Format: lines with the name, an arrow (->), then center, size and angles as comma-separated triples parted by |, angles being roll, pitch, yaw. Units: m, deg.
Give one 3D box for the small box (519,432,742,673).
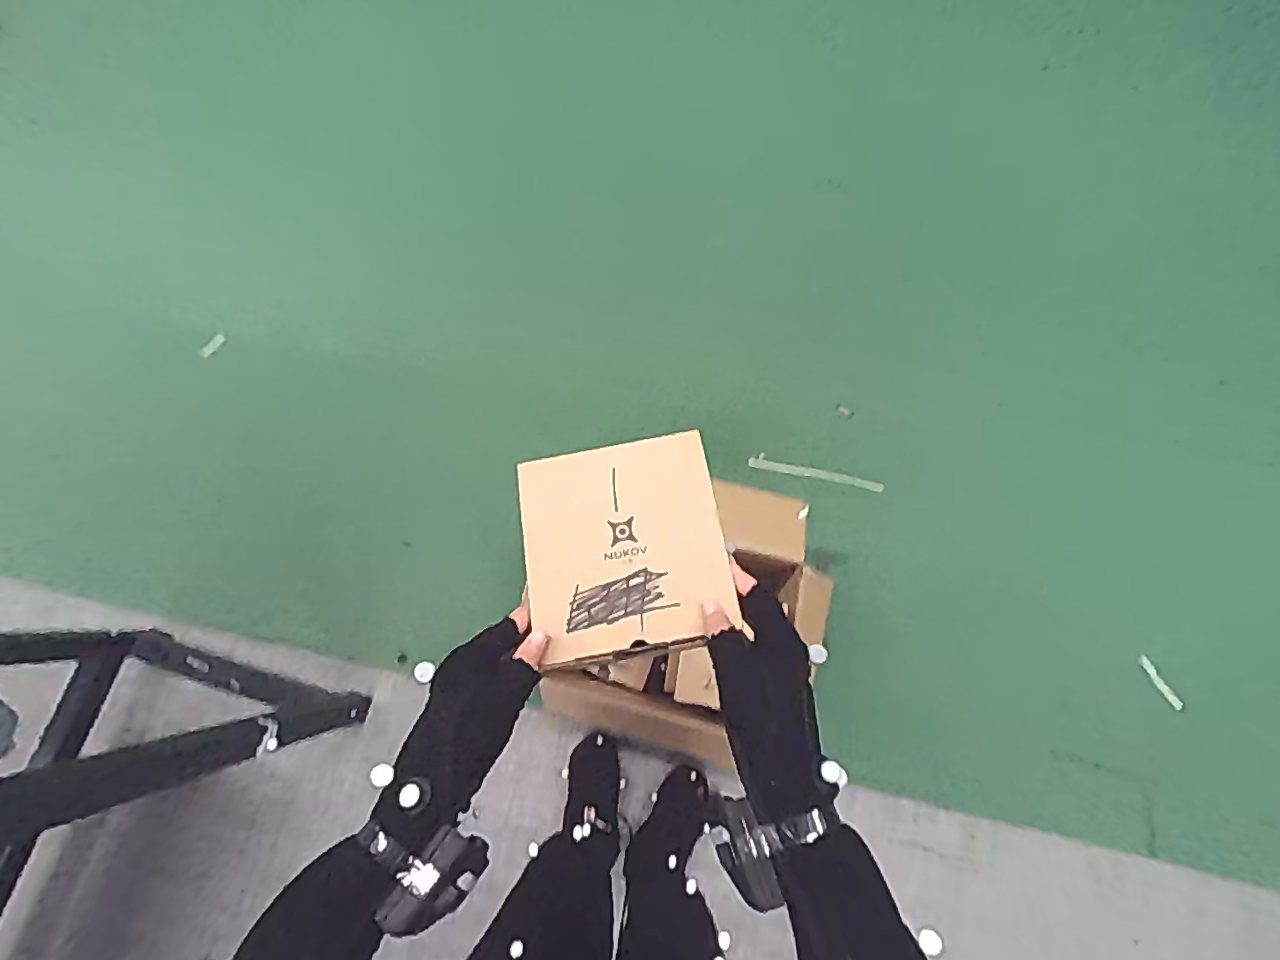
small box -> -0.006, 0.078, 0.512 | 0.168, 0.176, 0.179 | -10, 70, 1
